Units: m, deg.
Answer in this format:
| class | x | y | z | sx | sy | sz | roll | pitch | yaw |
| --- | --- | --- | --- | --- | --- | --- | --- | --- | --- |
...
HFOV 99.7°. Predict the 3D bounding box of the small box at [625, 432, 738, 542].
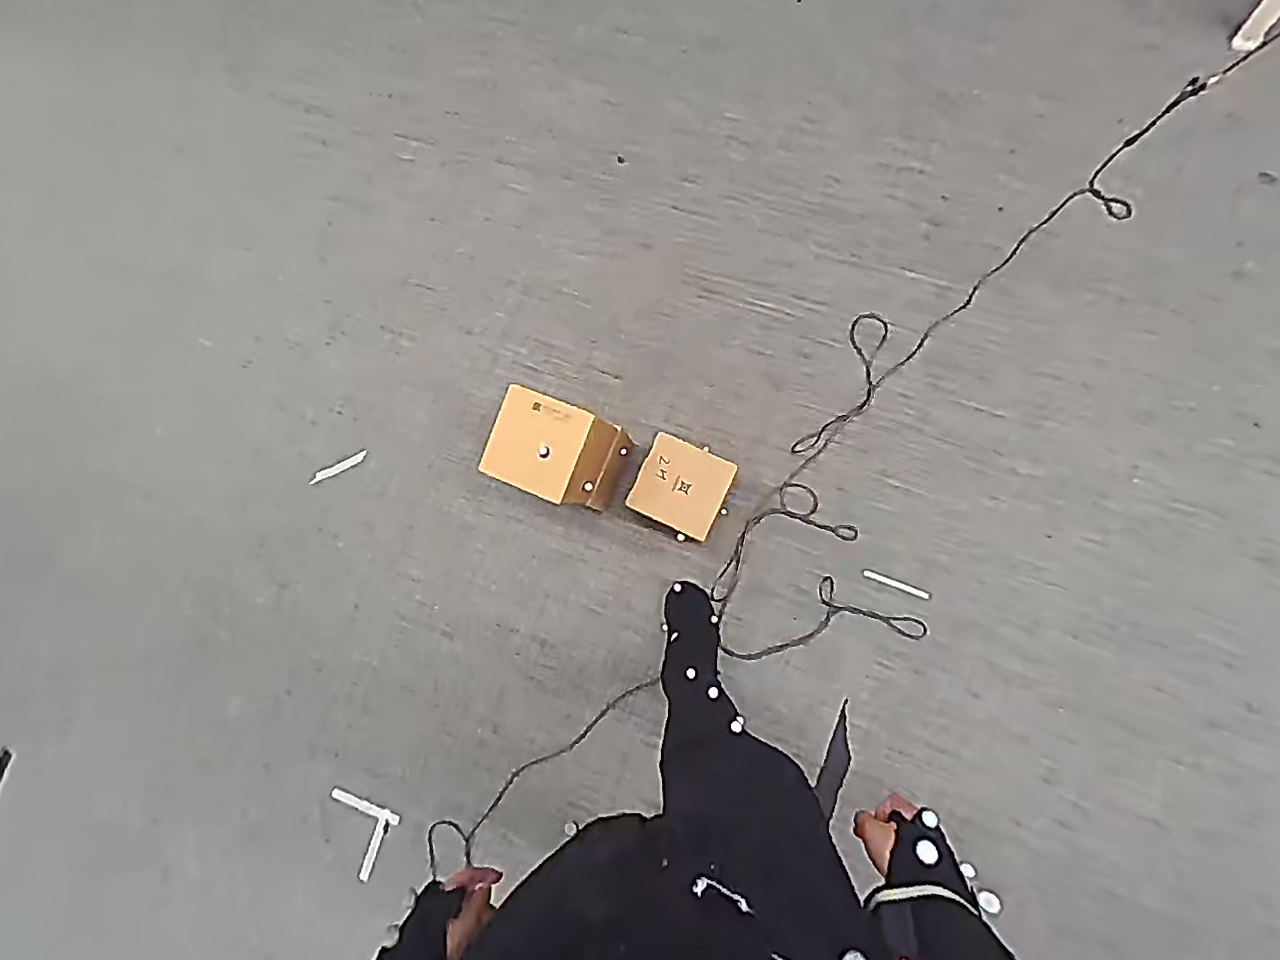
| class | x | y | z | sx | sy | sz | roll | pitch | yaw |
| --- | --- | --- | --- | --- | --- | --- | --- | --- | --- |
| small box | 0.090 | 0.020 | 1.137 | 0.179 | 0.176 | 0.168 | 25 | 86 | 10 |
